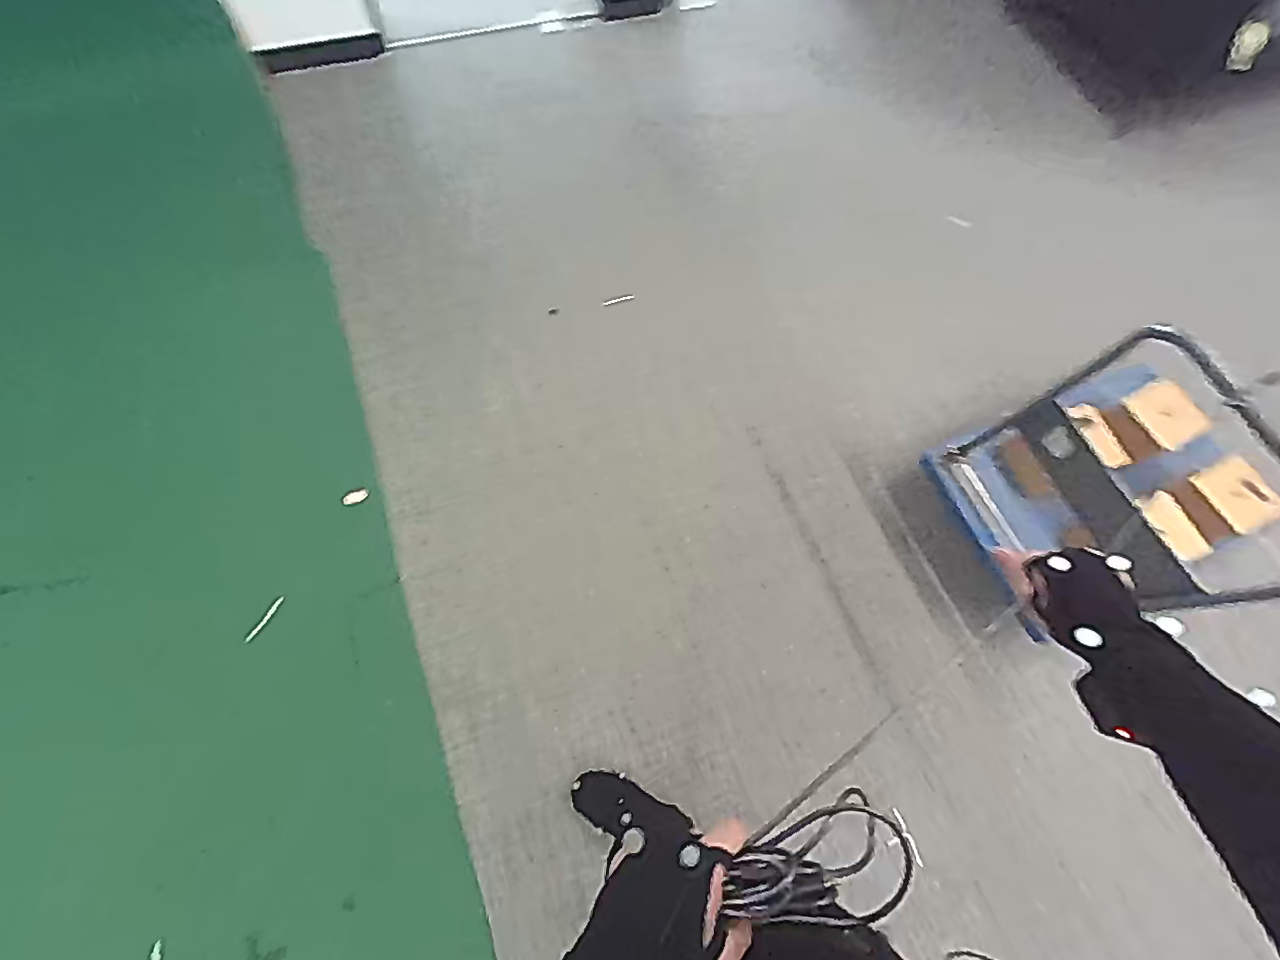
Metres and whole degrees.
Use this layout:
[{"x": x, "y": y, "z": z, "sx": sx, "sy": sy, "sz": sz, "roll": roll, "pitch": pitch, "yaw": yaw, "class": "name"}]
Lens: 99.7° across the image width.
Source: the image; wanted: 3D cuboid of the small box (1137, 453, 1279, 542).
[{"x": 1.504, "y": 0.058, "z": 1.445, "sx": 0.179, "sy": 0.176, "sz": 0.168, "roll": -24, "pitch": 72, "yaw": -12, "class": "small box"}]

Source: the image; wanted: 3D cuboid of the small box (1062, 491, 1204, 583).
[{"x": 1.255, "y": 0.151, "z": 1.391, "sx": 0.179, "sy": 0.176, "sz": 0.168, "roll": -20, "pitch": 72, "yaw": -11, "class": "small box"}]

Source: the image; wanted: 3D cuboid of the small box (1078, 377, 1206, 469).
[{"x": 1.389, "y": -0.154, "z": 1.517, "sx": 0.179, "sy": 0.176, "sz": 0.168, "roll": -24, "pitch": 74, "yaw": -13, "class": "small box"}]
